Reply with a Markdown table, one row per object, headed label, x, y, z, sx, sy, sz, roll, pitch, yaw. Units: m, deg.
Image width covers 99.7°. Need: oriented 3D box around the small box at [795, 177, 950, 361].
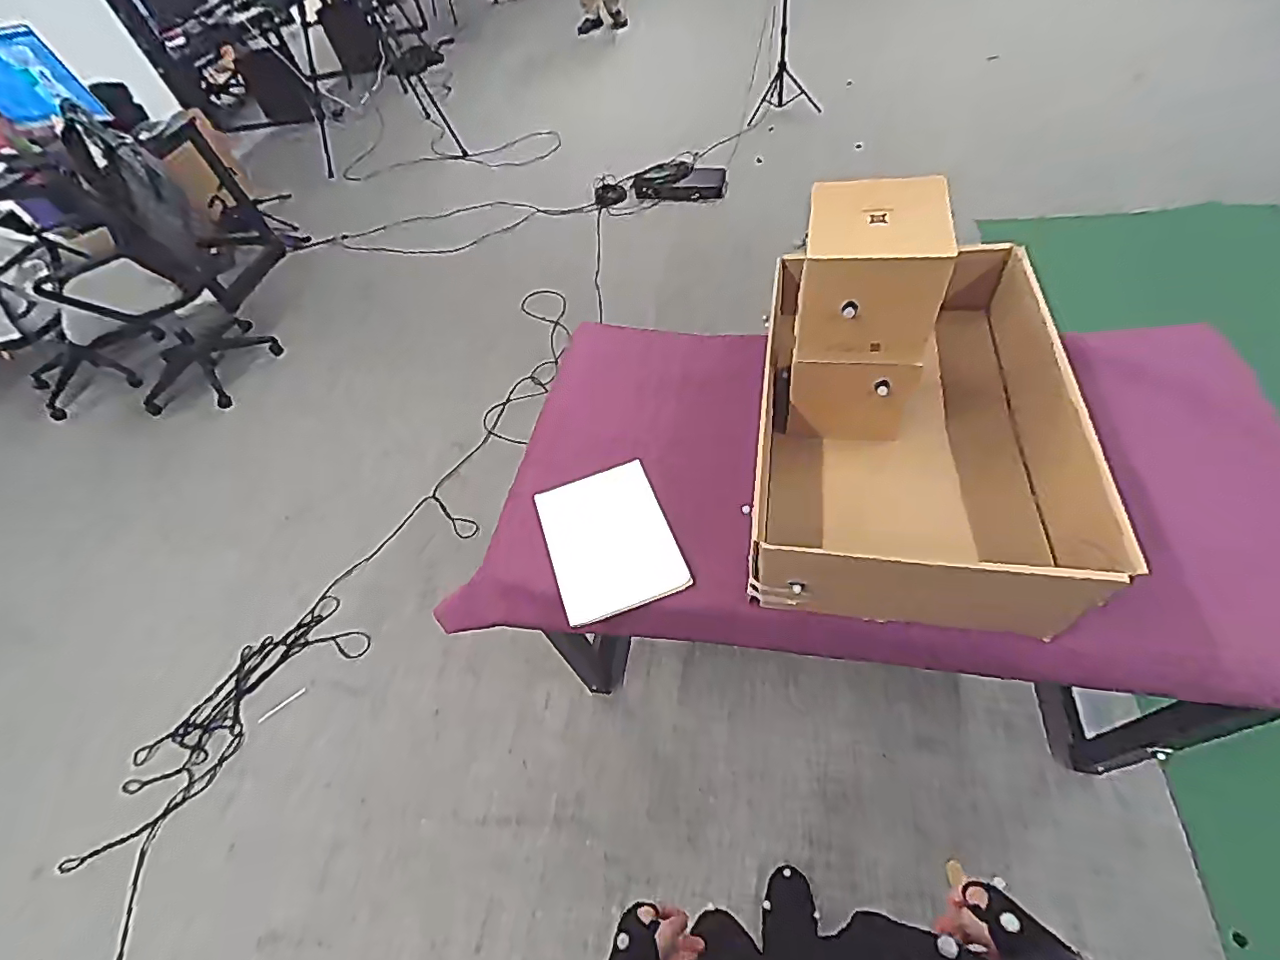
| label | x | y | z | sx | sy | sz | roll | pitch | yaw |
| --- | --- | --- | --- | --- | --- | --- | --- | --- | --- |
| small box | 0.305 | -0.279 | 0.737 | 0.168 | 0.176 | 0.179 | 5 | 56 | 15 |
